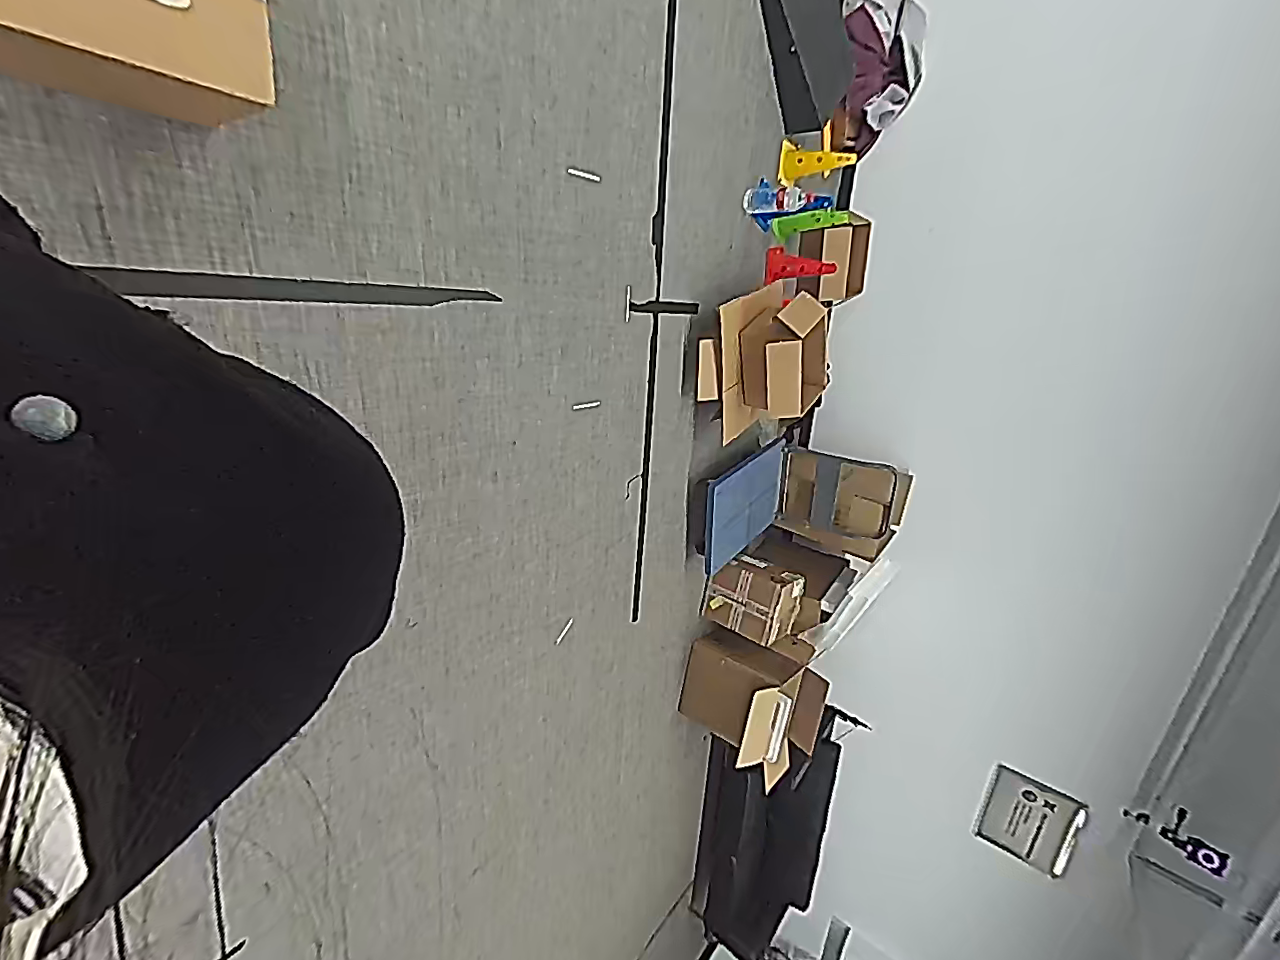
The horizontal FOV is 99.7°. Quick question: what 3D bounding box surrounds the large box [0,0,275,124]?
[{"bbox_3d":[-0.844,-0.778,0.800,0.408,0.320,0.320,-17,119,-51],"label":"large box"}]
